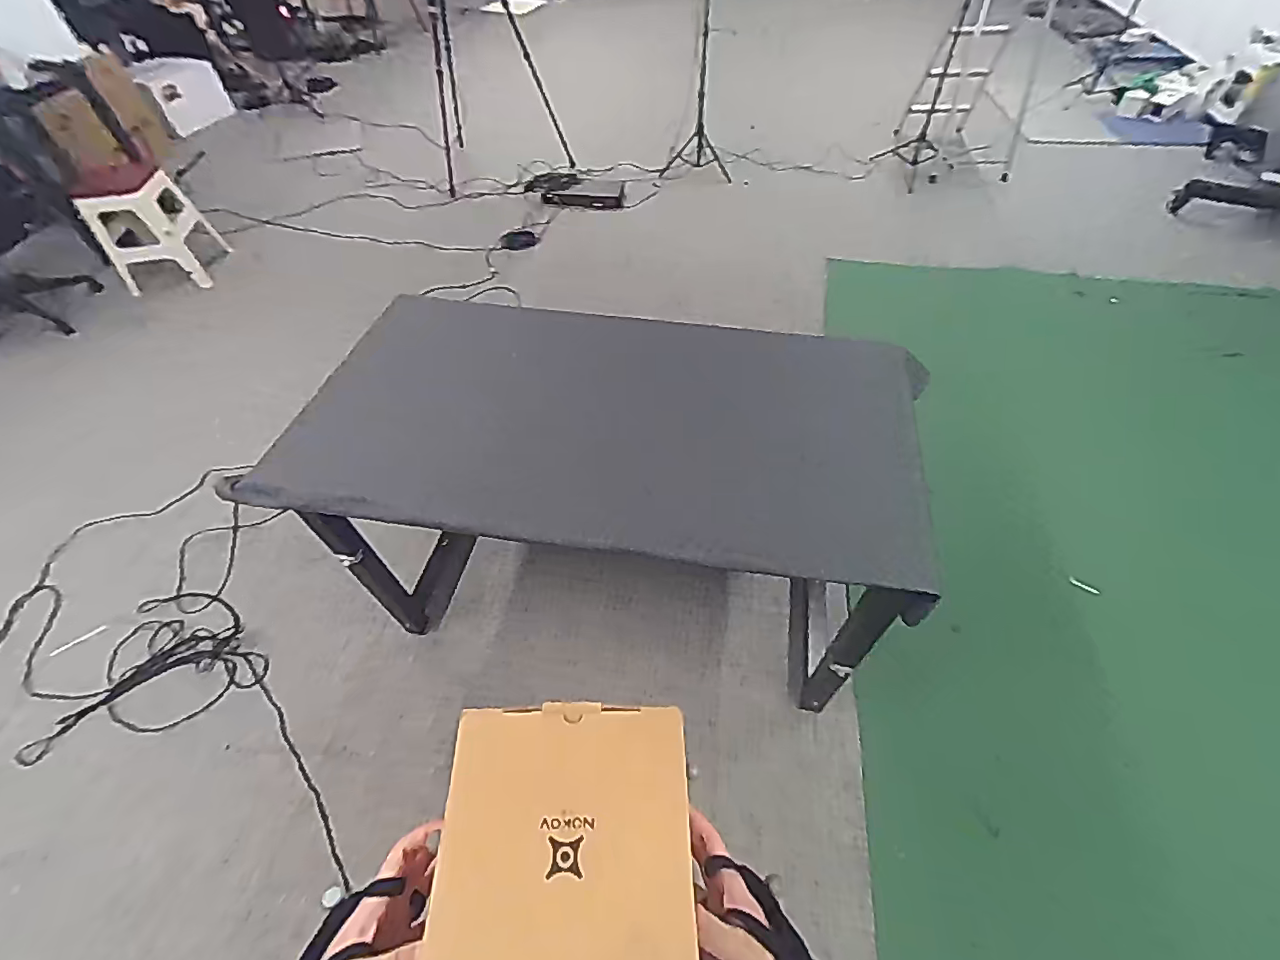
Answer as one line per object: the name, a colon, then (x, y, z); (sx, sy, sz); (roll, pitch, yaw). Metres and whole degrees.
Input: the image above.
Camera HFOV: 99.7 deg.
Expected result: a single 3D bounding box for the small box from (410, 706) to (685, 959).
small box: (-0.057, 0.290, 0.417); (0.168, 0.176, 0.179); (2, 50, -3)
